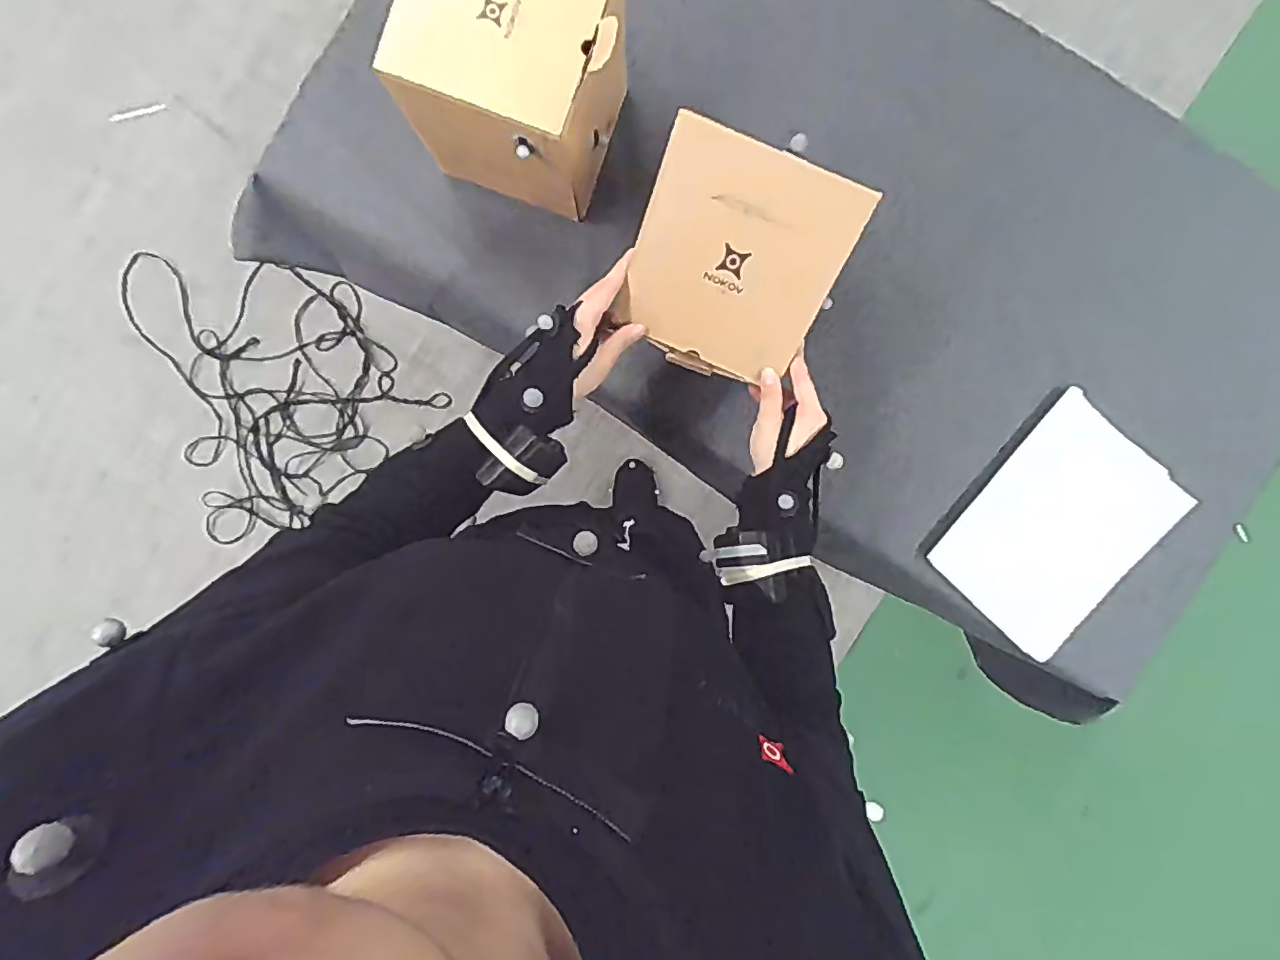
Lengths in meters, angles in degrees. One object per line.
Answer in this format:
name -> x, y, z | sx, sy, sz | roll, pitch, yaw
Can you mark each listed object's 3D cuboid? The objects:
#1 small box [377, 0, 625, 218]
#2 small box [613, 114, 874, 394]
small box -> -0.122, -0.399, 0.548 | 0.179, 0.176, 0.168 | 19, 90, -2
small box -> 0.094, -0.215, 0.516 | 0.168, 0.176, 0.179 | 23, 122, 0
